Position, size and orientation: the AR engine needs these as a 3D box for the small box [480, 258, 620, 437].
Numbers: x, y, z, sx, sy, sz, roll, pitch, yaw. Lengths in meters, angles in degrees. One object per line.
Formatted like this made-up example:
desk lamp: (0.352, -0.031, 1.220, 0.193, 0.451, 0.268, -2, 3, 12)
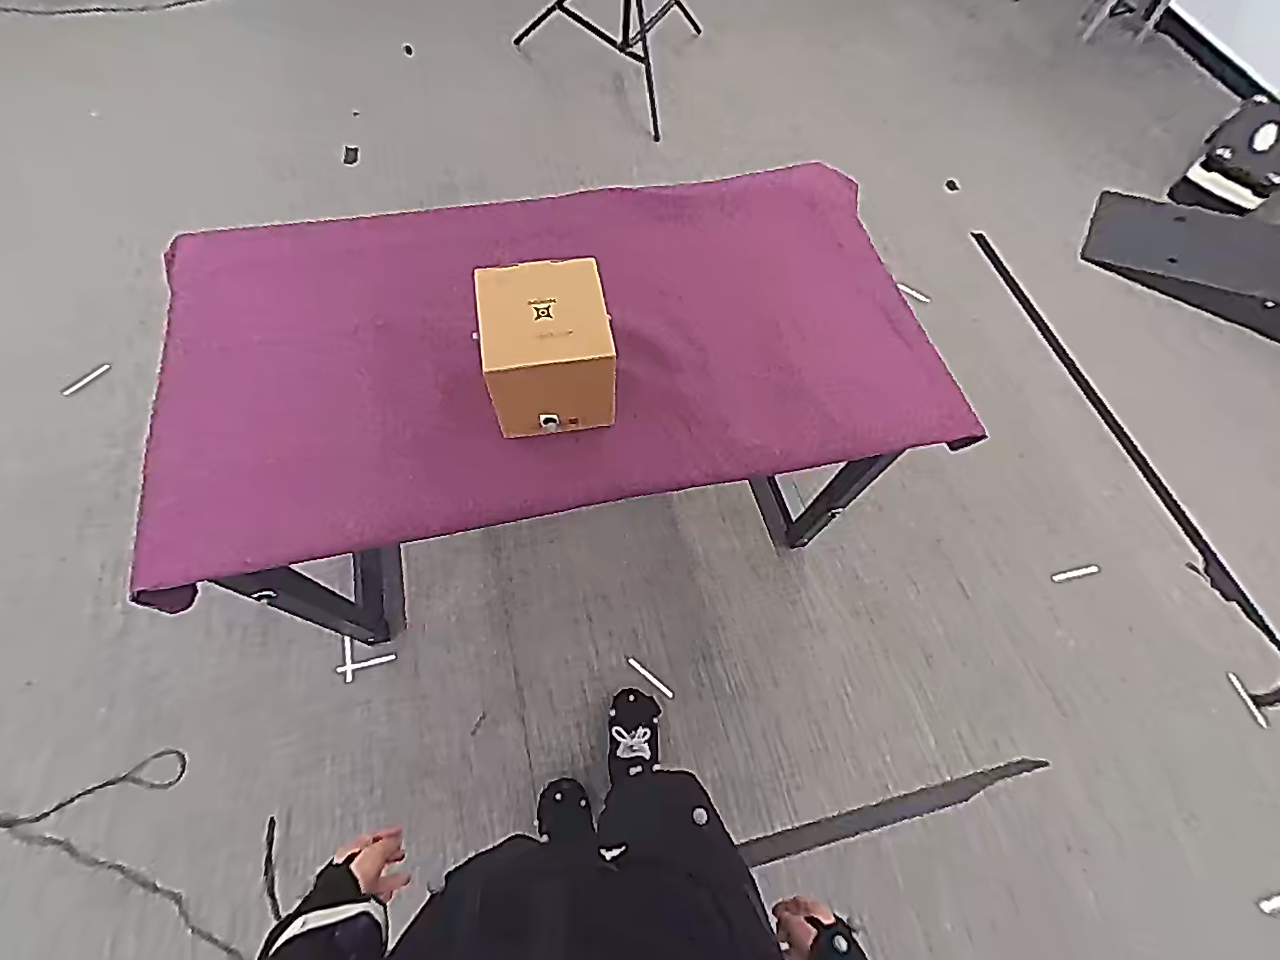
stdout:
small box: (-0.126, -0.184, 0.772, 0.168, 0.176, 0.179, -9, 66, -8)
